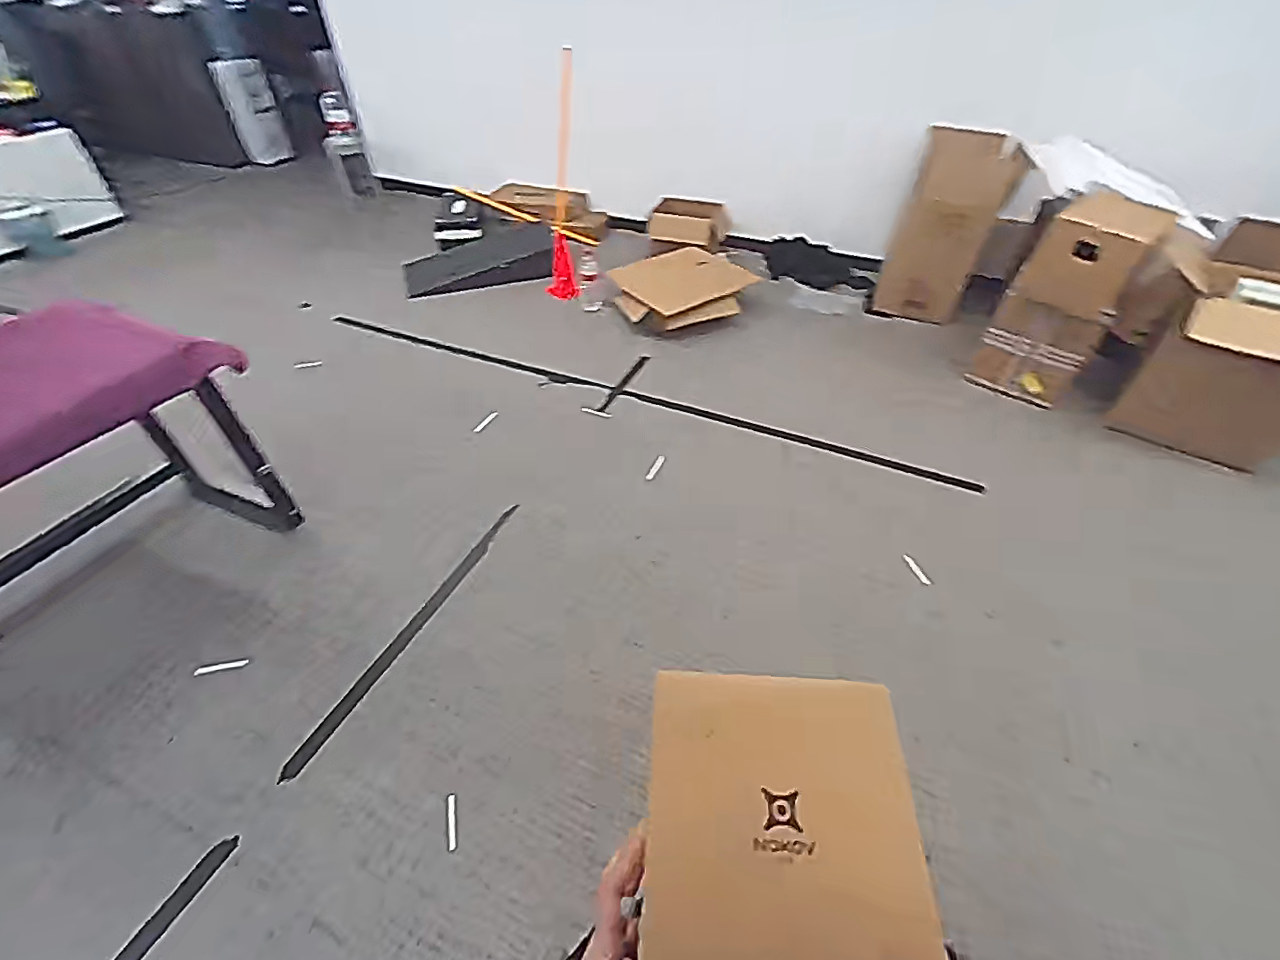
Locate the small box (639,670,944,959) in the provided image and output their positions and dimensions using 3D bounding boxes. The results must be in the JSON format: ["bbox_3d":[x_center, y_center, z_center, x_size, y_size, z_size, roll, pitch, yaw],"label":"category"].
[{"bbox_3d":[0.086,0.259,0.394,0.168,0.176,0.179,2,51,3],"label":"small box"}]
